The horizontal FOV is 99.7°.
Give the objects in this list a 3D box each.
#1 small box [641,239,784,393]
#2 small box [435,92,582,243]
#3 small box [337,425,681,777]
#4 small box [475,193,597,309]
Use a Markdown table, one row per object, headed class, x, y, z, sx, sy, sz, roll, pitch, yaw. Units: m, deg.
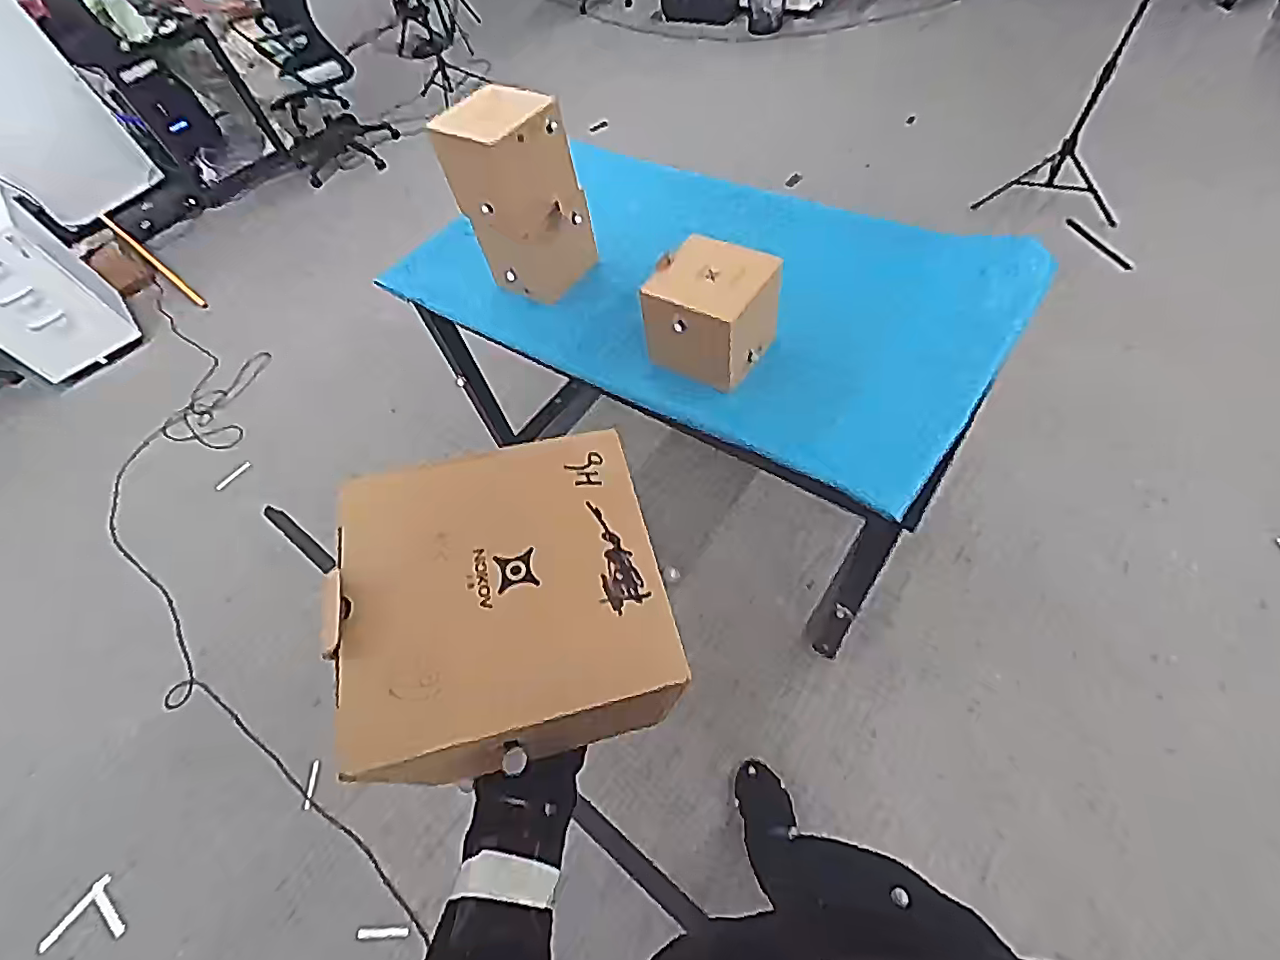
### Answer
| class | x | y | z | sx | sy | sz | roll | pitch | yaw |
| --- | --- | --- | --- | --- | --- | --- | --- | --- | --- |
| small box | 0.127 | -0.279 | 0.933 | 0.179 | 0.176 | 0.168 | 28 | 66 | 25 |
| small box | -0.239 | -0.576 | 0.993 | 0.179 | 0.176 | 0.168 | 29 | 67 | 25 |
| small box | -0.083 | 0.092 | 0.379 | 0.179 | 0.176 | 0.168 | -15 | 61 | -11 |
| small box | -0.209 | -0.497 | 1.137 | 0.168 | 0.176 | 0.179 | 30 | 69 | 27 |
